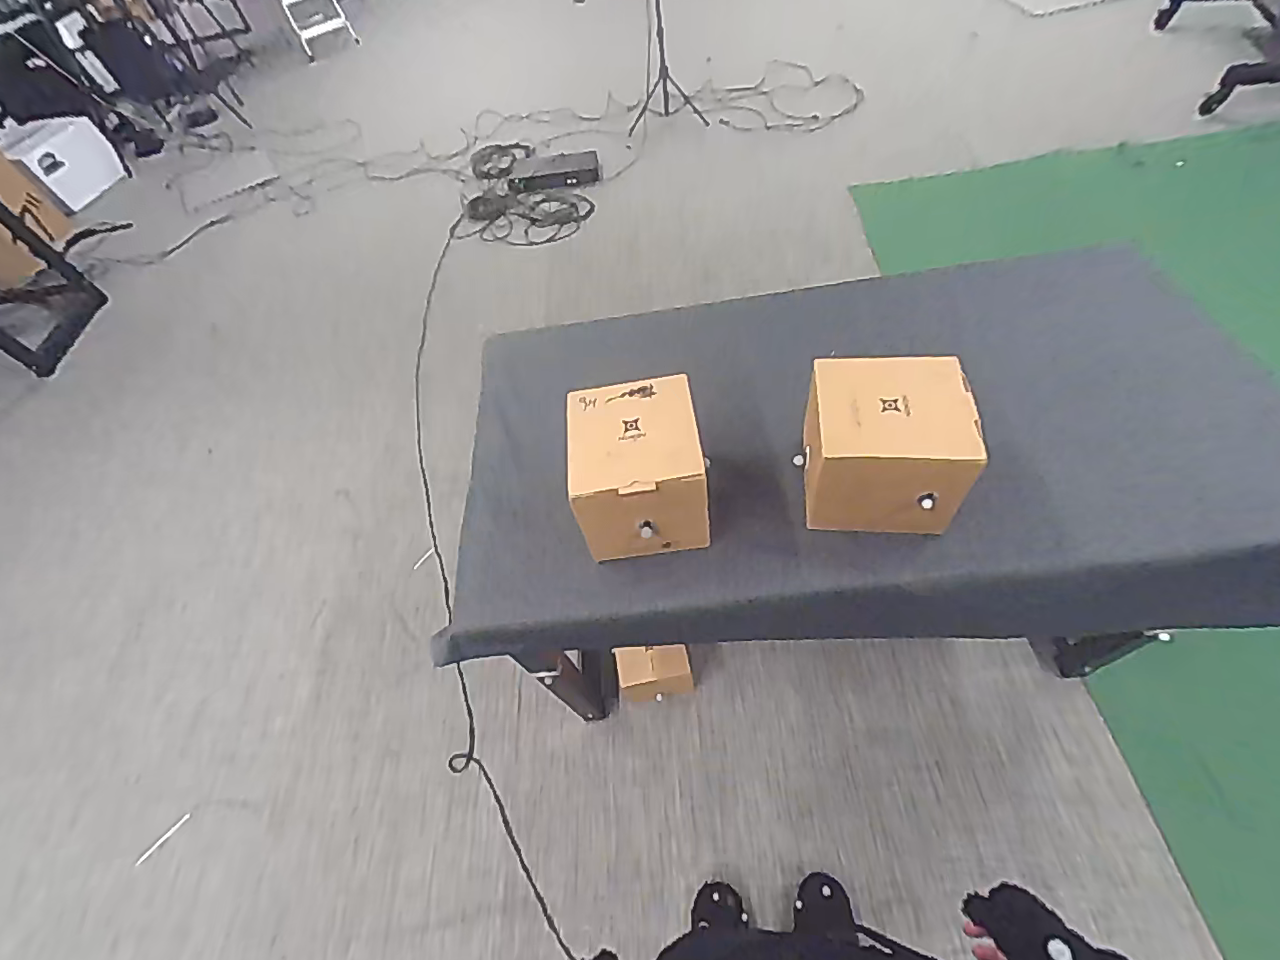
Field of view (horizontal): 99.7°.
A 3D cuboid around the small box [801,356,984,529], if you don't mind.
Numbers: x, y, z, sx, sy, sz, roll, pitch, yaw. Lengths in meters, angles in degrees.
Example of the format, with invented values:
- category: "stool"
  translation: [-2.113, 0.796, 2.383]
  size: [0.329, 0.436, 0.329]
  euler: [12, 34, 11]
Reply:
- category: "small box"
  translation: [0.316, -0.045, 0.718]
  size: [0.179, 0.176, 0.168]
  euler: [1, 56, 11]

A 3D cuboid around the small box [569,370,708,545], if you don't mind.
- category: "small box"
  translation: [0.001, -0.022, 0.748]
  size: [0.168, 0.176, 0.179]
  euler: [-8, 55, 3]
